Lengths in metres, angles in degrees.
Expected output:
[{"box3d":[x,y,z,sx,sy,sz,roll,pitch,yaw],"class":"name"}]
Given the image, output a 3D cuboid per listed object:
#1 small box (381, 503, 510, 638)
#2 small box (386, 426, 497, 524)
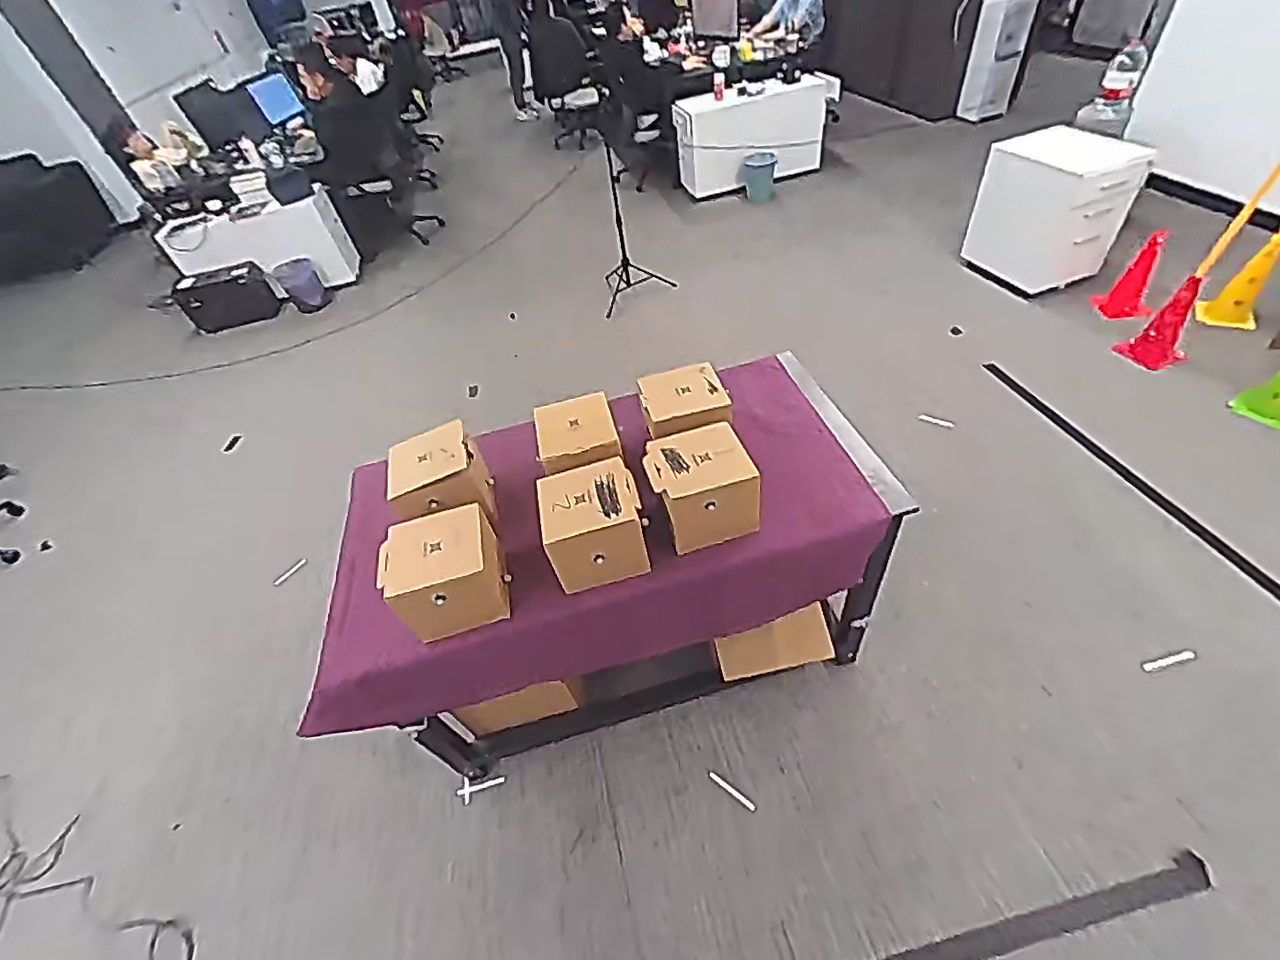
[{"box3d":[-0.361,0.176,1.028,0.179,0.176,0.168,-15,47,-5],"class":"small box"},{"box3d":[-0.432,0.013,1.191,0.179,0.176,0.168,-17,47,-6],"class":"small box"}]
